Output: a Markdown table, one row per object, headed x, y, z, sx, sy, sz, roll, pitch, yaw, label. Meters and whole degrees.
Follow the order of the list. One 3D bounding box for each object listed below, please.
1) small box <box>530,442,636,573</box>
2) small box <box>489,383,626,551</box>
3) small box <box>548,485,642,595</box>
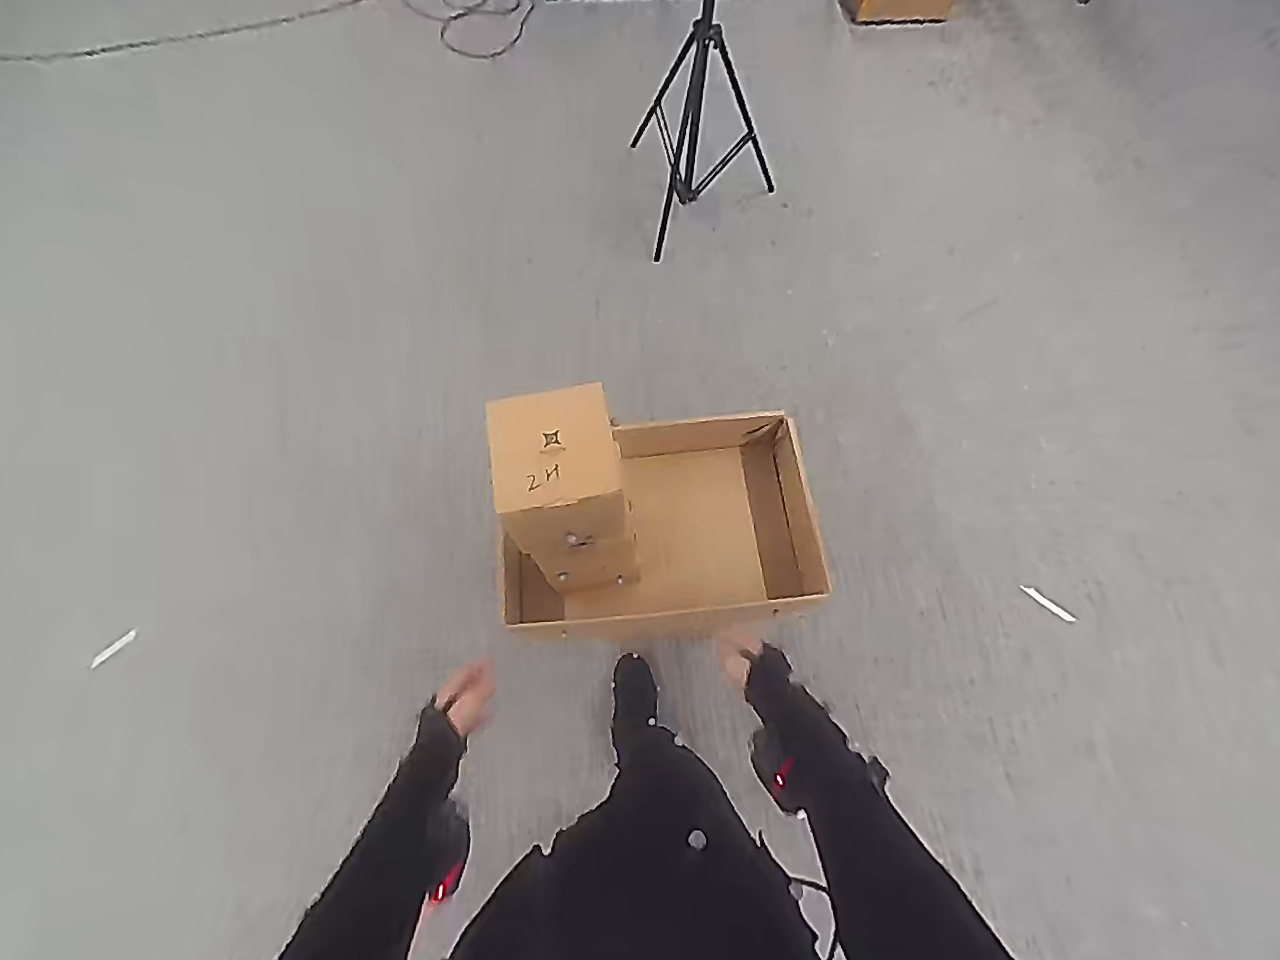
| x | y | z | sx | sy | sz | roll | pitch | yaw | label |
| --- | --- | --- | --- | --- | --- | --- | --- | --- | --- |
| -0.100 | 0.057 | 0.943 | 0.168 | 0.176 | 0.179 | -9 | 66 | -3 | small box |
| -0.115 | -0.014 | 0.793 | 0.168 | 0.176 | 0.179 | -10 | 66 | -4 | small box |
| -0.094 | 0.125 | 1.091 | 0.179 | 0.176 | 0.168 | -10 | 67 | -3 | small box |
